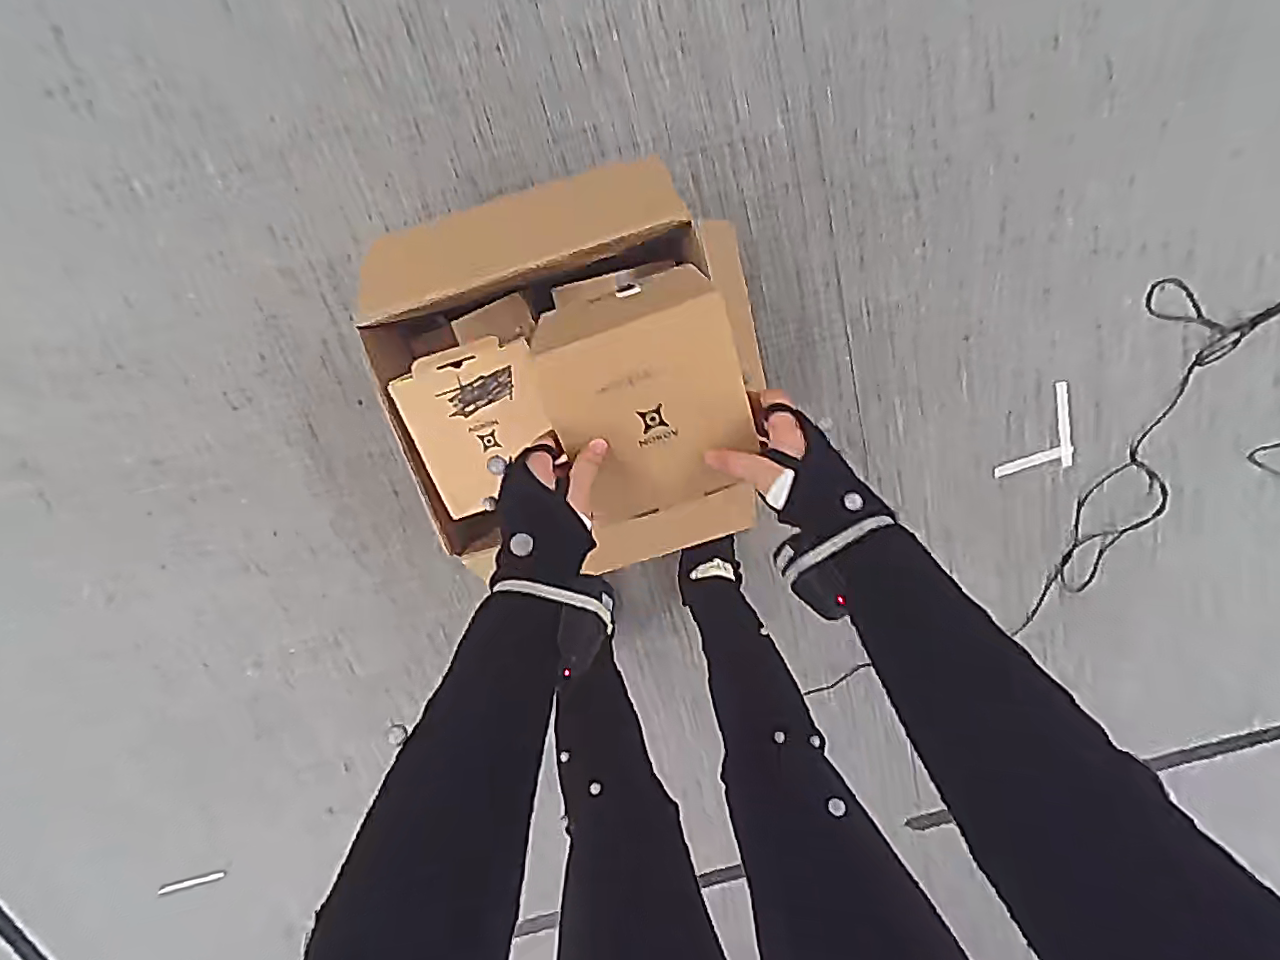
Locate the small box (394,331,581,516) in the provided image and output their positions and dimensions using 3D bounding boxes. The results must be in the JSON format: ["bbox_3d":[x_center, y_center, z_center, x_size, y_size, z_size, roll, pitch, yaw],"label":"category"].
[{"bbox_3d":[-0.173,-0.083,0.688,0.168,0.176,0.179,-17,110,4],"label":"small box"}]

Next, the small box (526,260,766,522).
[{"bbox_3d":[0.007,-0.093,0.528,0.168,0.176,0.179,-19,118,5],"label":"small box"}]
